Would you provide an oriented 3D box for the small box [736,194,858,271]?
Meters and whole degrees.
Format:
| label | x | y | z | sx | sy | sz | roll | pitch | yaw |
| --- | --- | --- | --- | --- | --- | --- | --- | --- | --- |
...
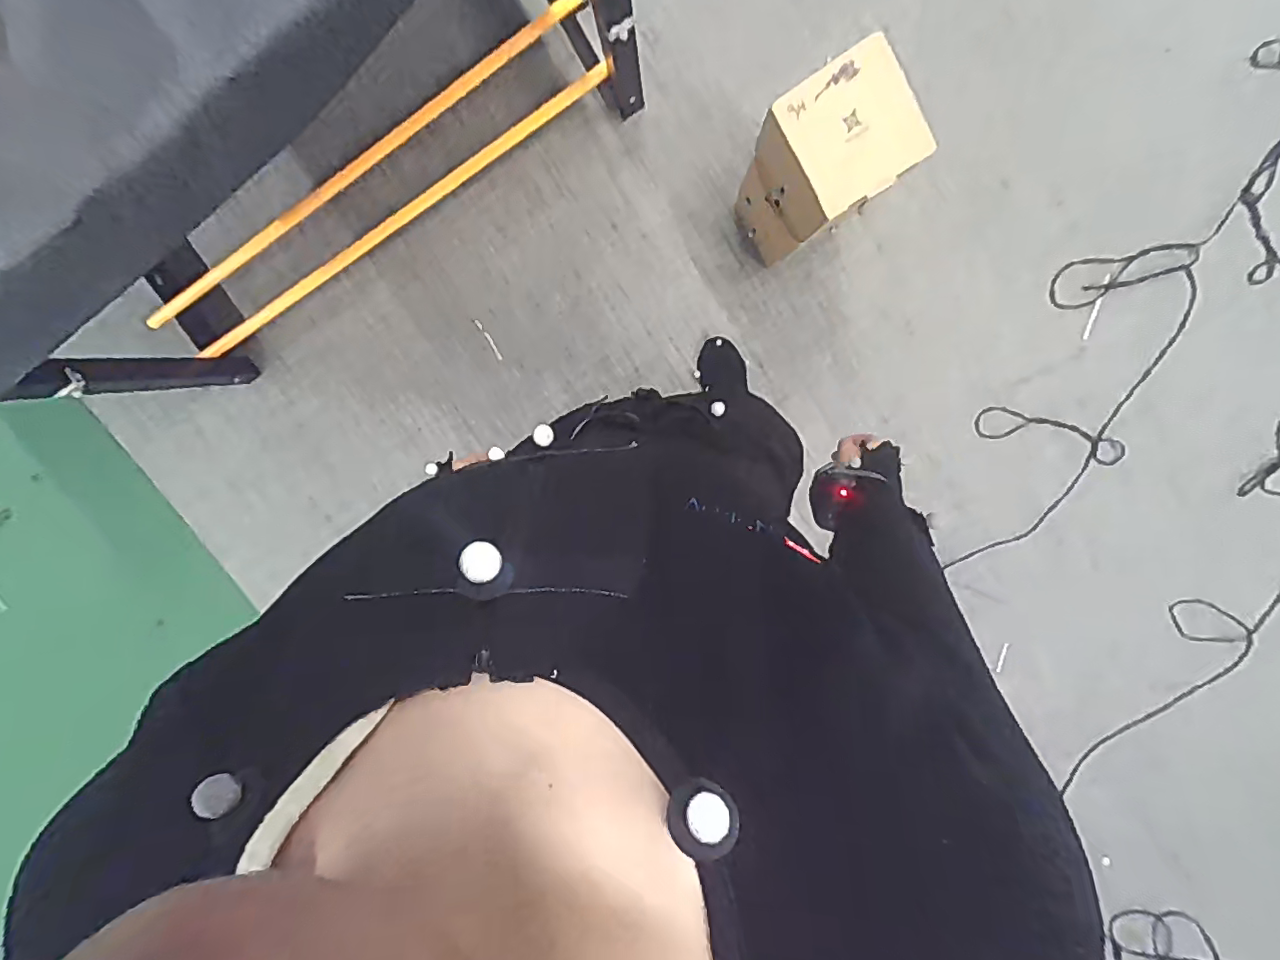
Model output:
| label | x | y | z | sx | sy | sz | roll | pitch | yaw |
| --- | --- | --- | --- | --- | --- | --- | --- | --- | --- |
| small box | 0.320 | -0.567 | 1.134 | 0.179 | 0.176 | 0.168 | -30 | 98 | 8 |

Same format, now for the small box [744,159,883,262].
| label | x | y | z | sx | sy | sz | roll | pitch | yaw |
| --- | --- | --- | --- | --- | --- | --- | --- | --- | --- |
| small box | 0.302 | -0.522 | 0.977 | 0.179 | 0.176 | 0.168 | -32 | 99 | 9 |

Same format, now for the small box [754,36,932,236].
| label | x | y | z | sx | sy | sz | roll | pitch | yaw |
| --- | --- | --- | --- | --- | --- | --- | --- | --- | --- |
| small box | 0.293 | -0.493 | 0.815 | 0.168 | 0.176 | 0.179 | -30 | 100 | 8 |
